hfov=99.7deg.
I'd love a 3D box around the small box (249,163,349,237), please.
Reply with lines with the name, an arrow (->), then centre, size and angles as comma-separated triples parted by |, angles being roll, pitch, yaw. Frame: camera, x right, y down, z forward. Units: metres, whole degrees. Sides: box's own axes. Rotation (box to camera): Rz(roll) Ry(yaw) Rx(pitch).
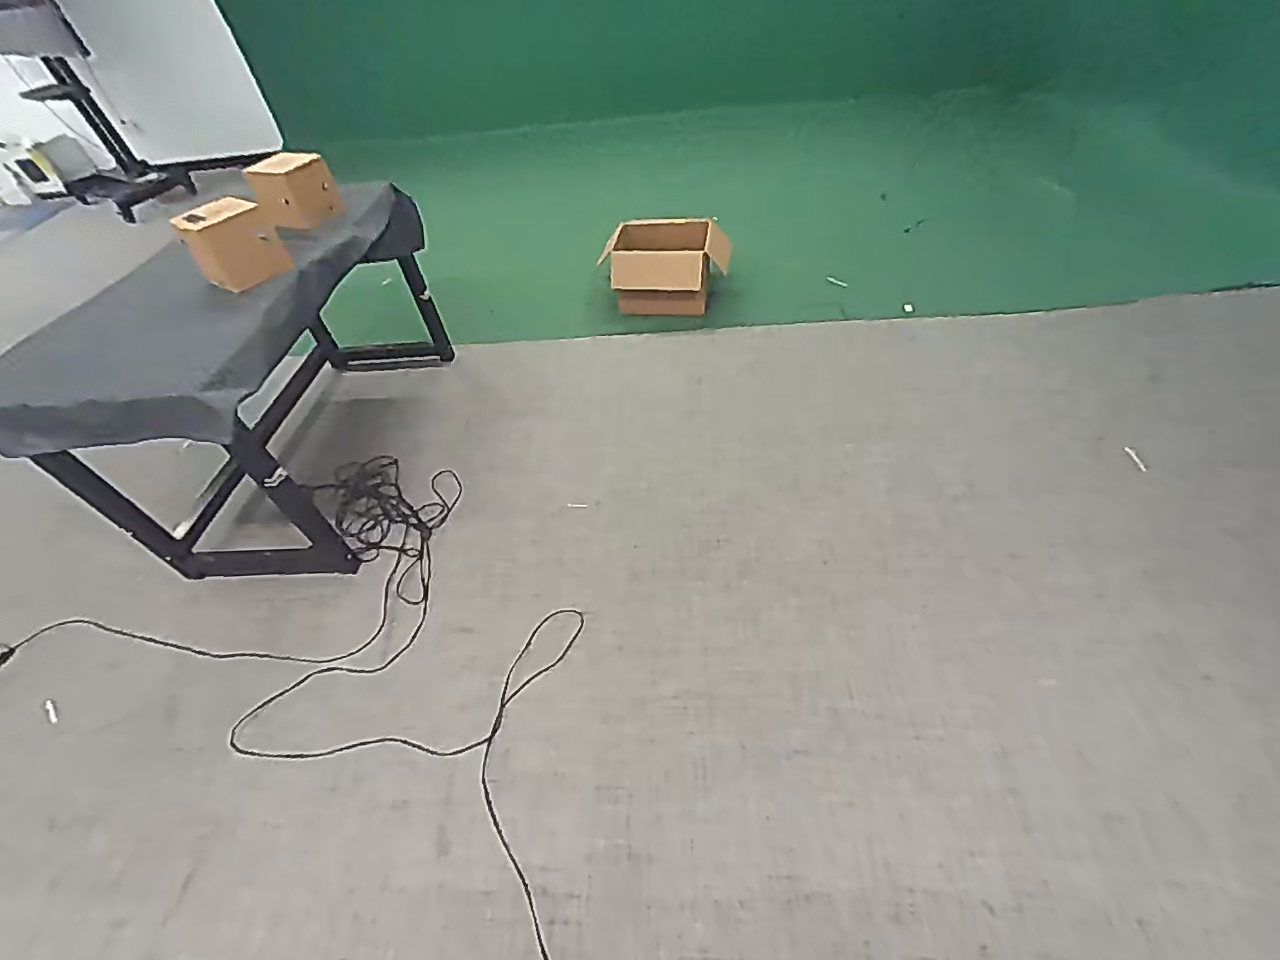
small box -> -1.082, -0.894, 1.733 | 0.179, 0.176, 0.168 | 11, 49, 19
